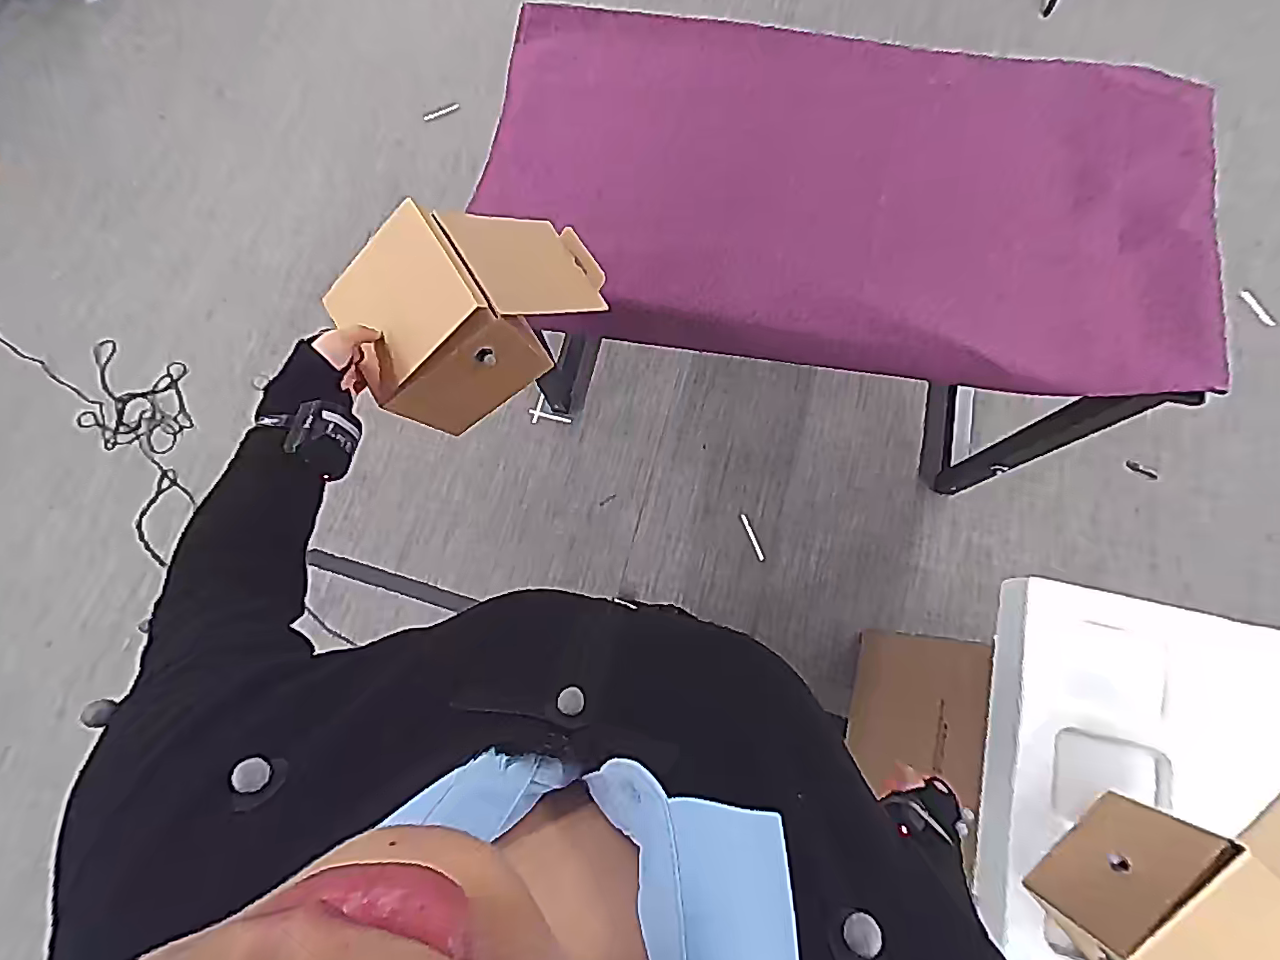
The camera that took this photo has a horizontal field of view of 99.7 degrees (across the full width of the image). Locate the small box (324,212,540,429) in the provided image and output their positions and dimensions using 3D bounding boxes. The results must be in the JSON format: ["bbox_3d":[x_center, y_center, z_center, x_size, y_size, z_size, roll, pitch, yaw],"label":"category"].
[{"bbox_3d":[-0.250,-0.190,0.697,0.179,0.176,0.168,-34,77,6],"label":"small box"}]
